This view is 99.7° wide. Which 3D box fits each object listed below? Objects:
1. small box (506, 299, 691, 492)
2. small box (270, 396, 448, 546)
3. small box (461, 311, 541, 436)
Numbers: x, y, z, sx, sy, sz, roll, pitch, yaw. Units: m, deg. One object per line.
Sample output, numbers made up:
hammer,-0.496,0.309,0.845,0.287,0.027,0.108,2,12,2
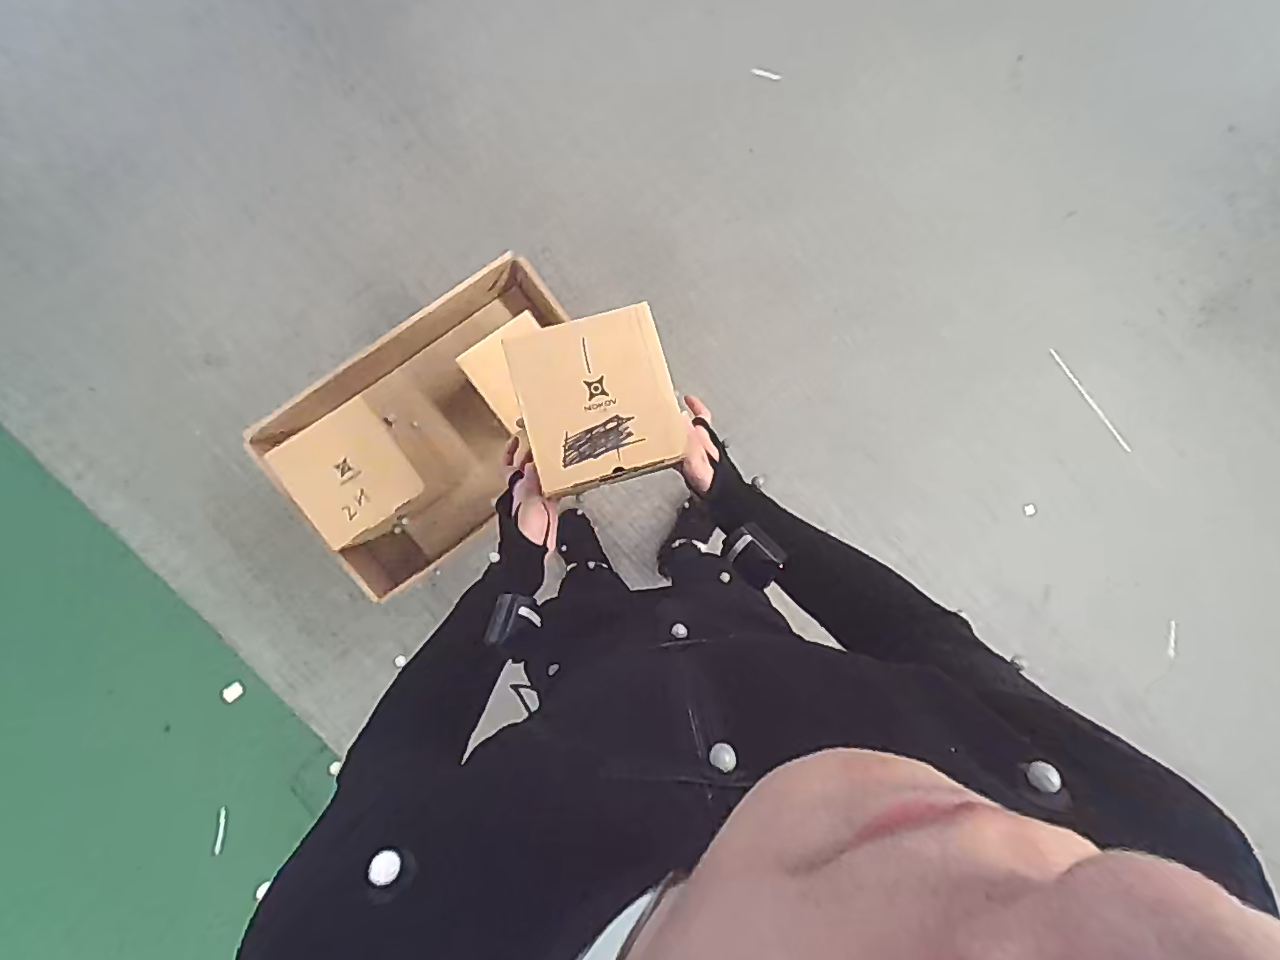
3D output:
small box,-0.047,-0.088,0.650,0.168,0.176,0.179,-15,88,-4
small box,-0.447,-0.012,0.891,0.168,0.176,0.179,-35,95,-6
small box,-0.233,-0.203,1.092,0.168,0.176,0.179,-37,96,-7
